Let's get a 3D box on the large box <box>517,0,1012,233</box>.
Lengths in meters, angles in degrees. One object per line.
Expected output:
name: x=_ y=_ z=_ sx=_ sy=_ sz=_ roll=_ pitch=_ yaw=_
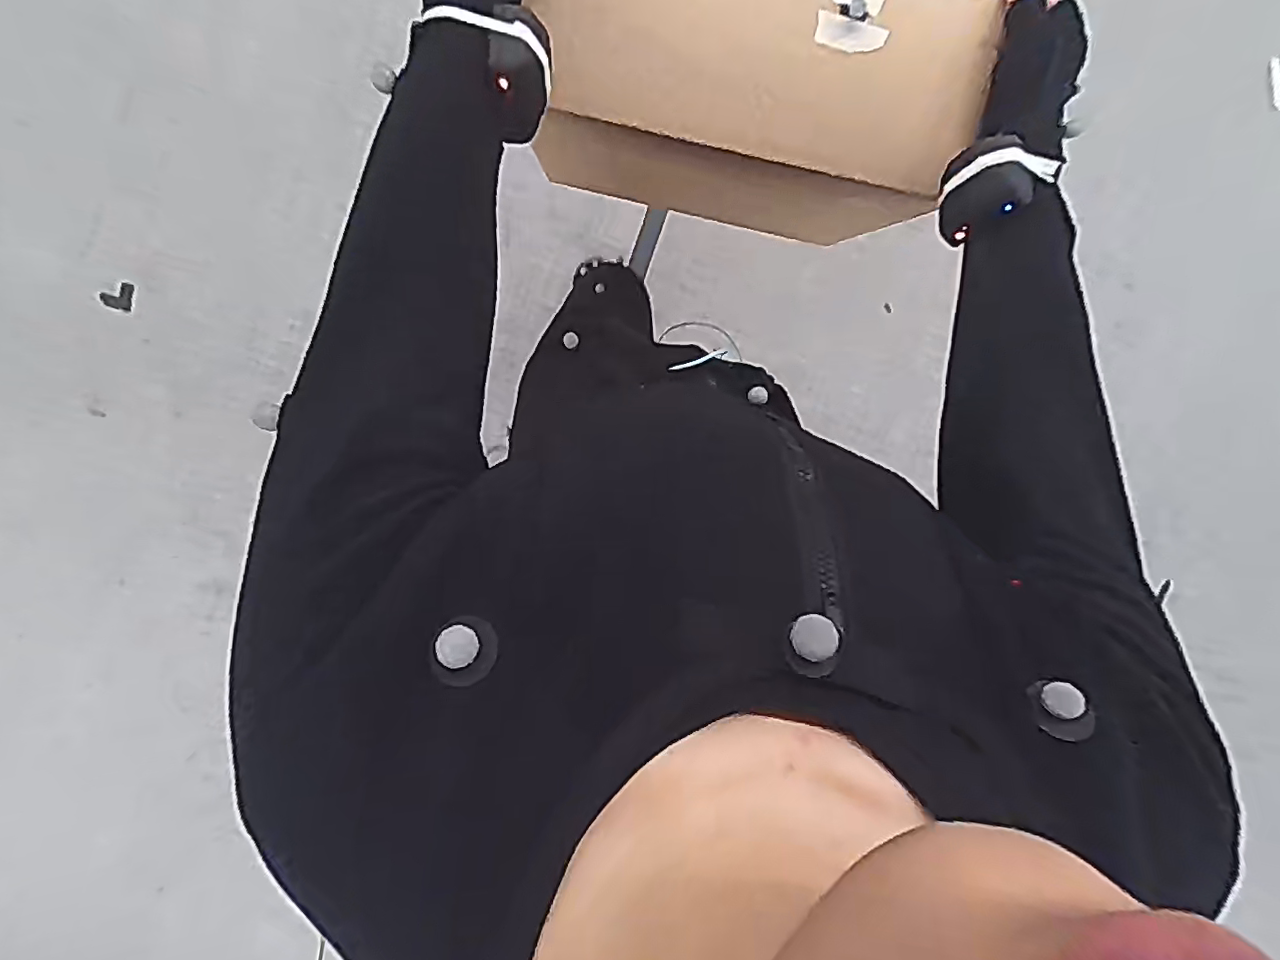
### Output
large box: x=0.109 y=-0.483 z=0.570 sx=0.408 sy=0.320 sz=0.320 roll=11 pitch=107 yaw=-6
